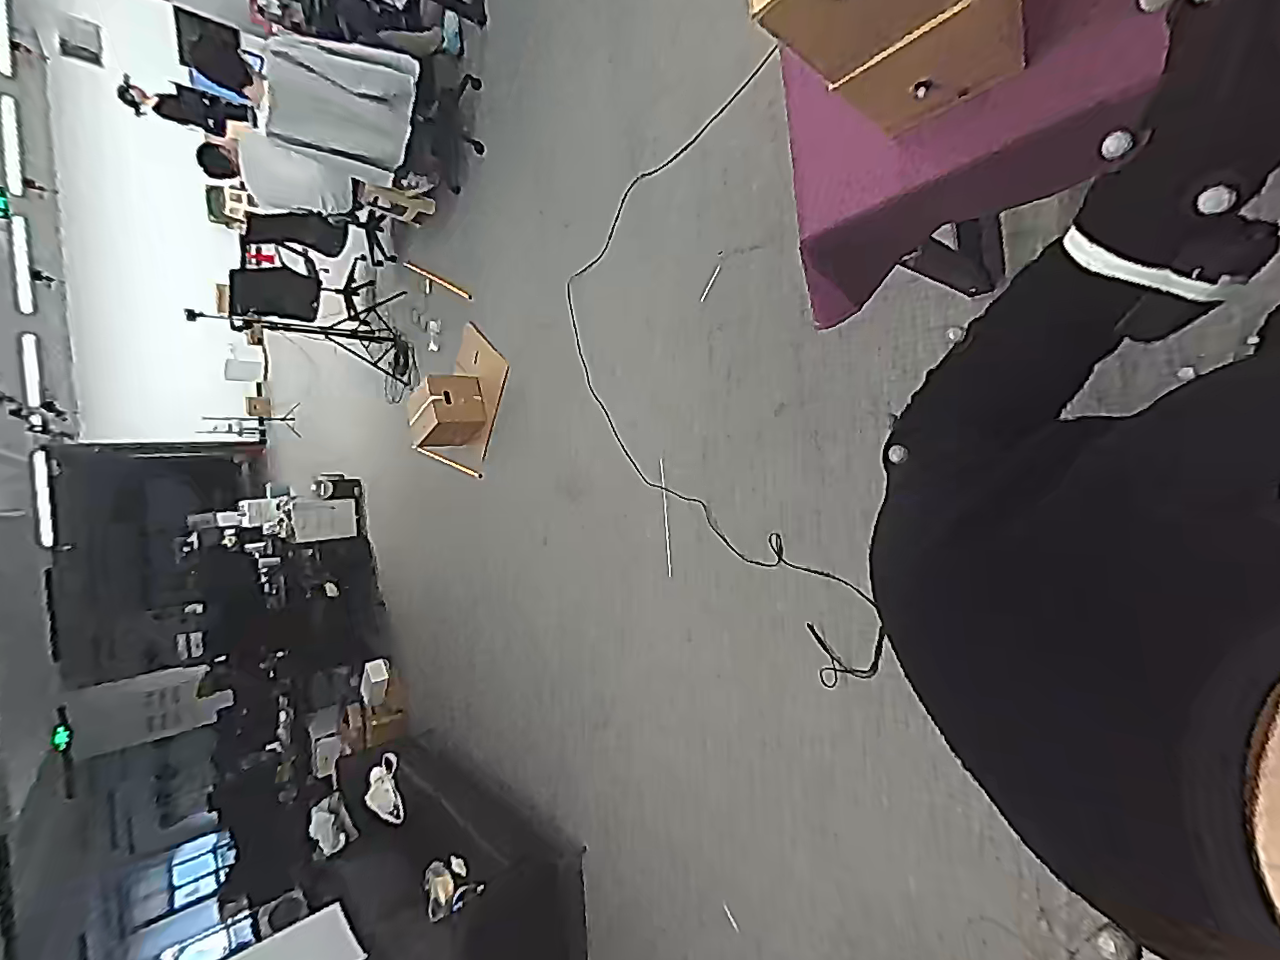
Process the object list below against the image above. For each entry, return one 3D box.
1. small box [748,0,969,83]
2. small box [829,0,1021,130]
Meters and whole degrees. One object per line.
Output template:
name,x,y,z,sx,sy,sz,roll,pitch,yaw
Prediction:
small box,0.224,-0.553,0.543,0.179,0.176,0.168,-4,91,48
small box,0.342,-0.562,0.655,0.168,0.176,0.179,-2,91,48
